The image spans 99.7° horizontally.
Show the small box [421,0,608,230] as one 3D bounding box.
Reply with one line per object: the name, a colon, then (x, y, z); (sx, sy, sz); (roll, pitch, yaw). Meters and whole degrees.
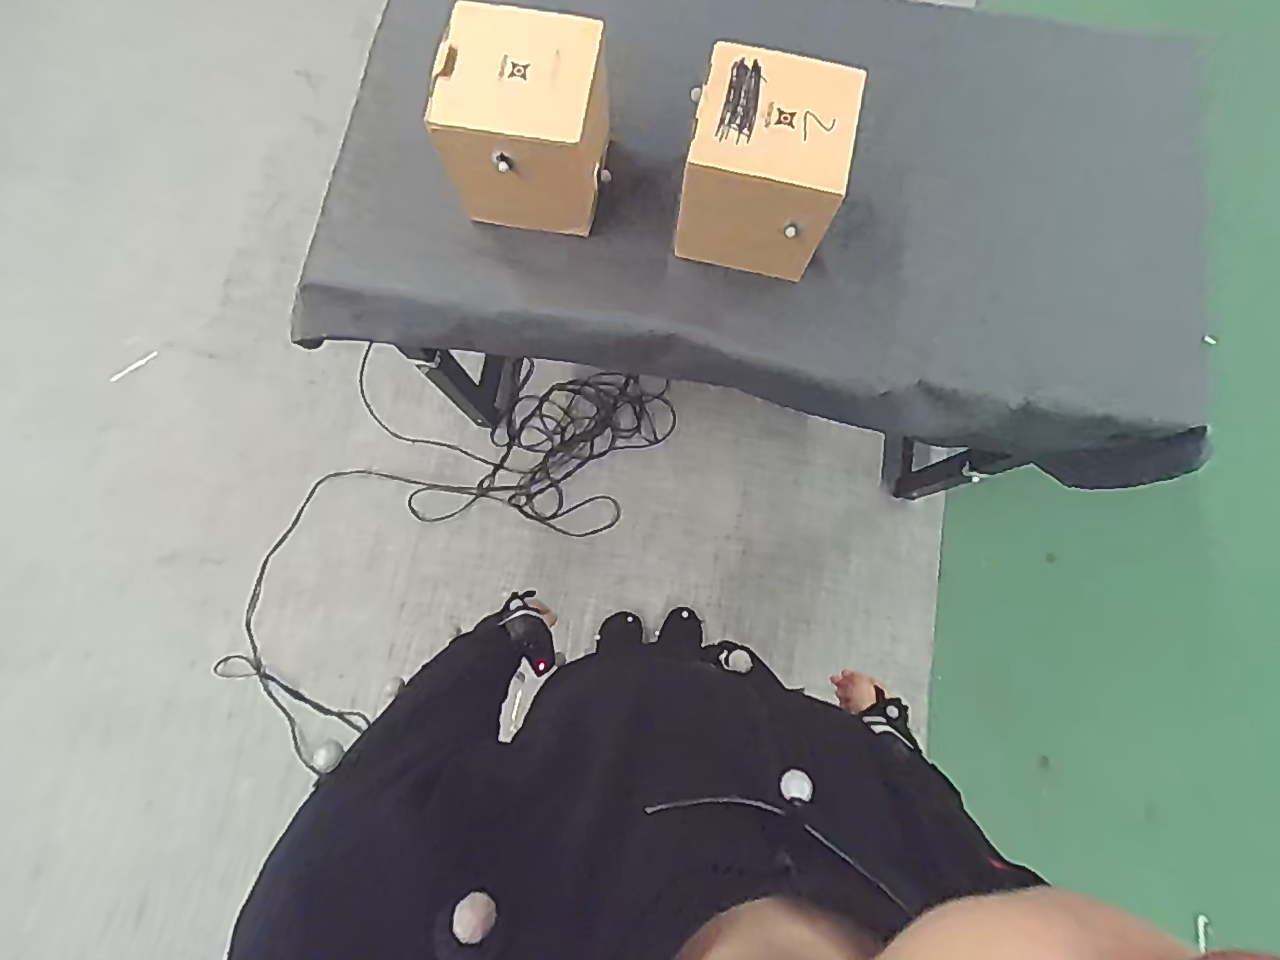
small box: (-0.142, -0.443, 0.678); (0.179, 0.176, 0.168); (10, 80, 0)
